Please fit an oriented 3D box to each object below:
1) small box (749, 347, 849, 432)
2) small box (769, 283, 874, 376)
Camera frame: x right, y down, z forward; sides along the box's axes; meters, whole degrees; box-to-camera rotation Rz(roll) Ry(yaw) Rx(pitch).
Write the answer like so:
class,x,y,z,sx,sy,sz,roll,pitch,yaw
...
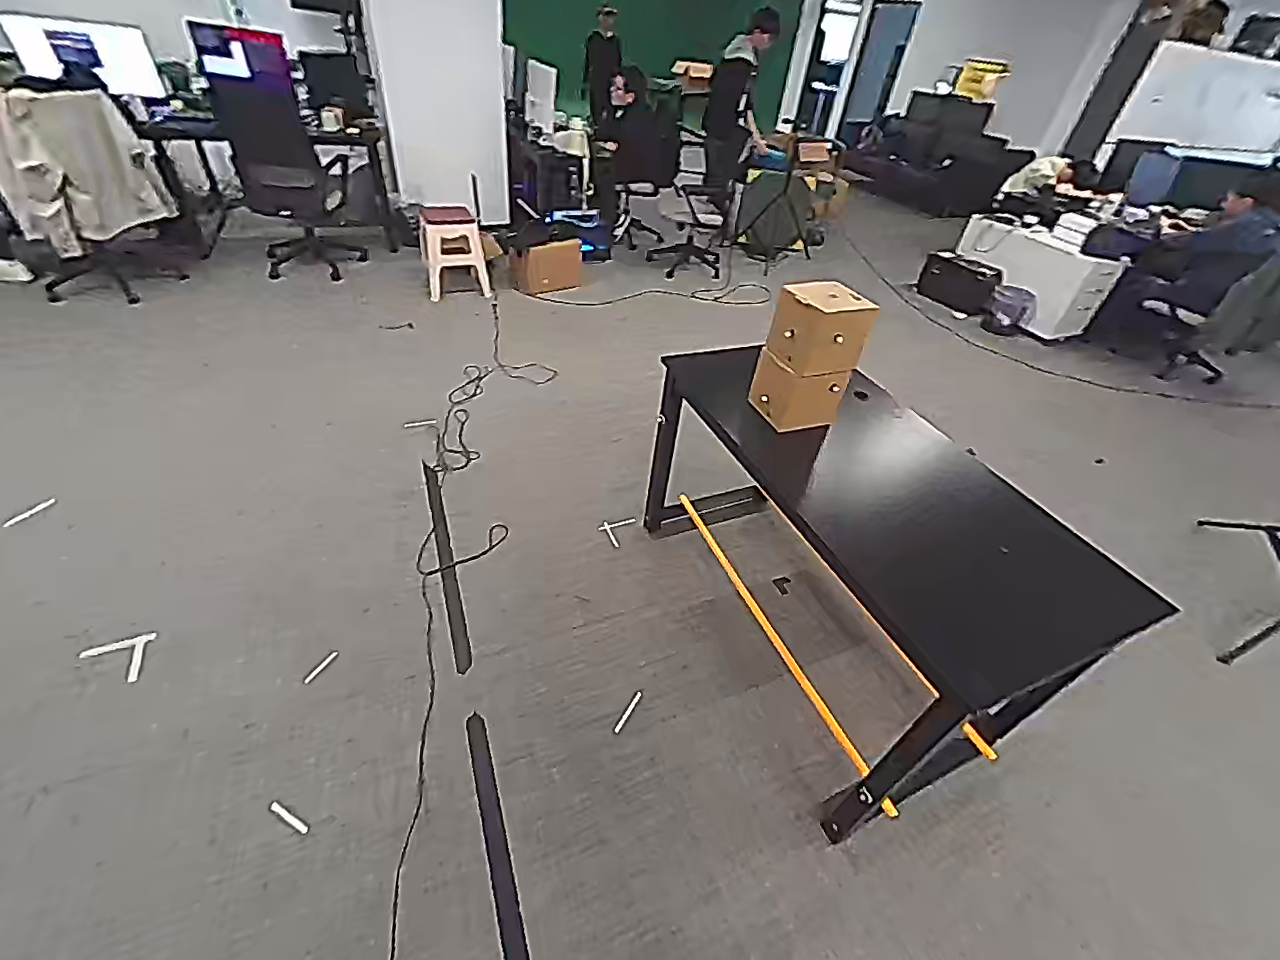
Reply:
class,x,y,z,sx,sy,sz,roll,pitch,yaw
small box,0.421,-0.250,1.460,0.179,0.176,0.168,-11,43,-20
small box,0.444,-0.377,1.359,0.179,0.176,0.168,-13,45,-22
